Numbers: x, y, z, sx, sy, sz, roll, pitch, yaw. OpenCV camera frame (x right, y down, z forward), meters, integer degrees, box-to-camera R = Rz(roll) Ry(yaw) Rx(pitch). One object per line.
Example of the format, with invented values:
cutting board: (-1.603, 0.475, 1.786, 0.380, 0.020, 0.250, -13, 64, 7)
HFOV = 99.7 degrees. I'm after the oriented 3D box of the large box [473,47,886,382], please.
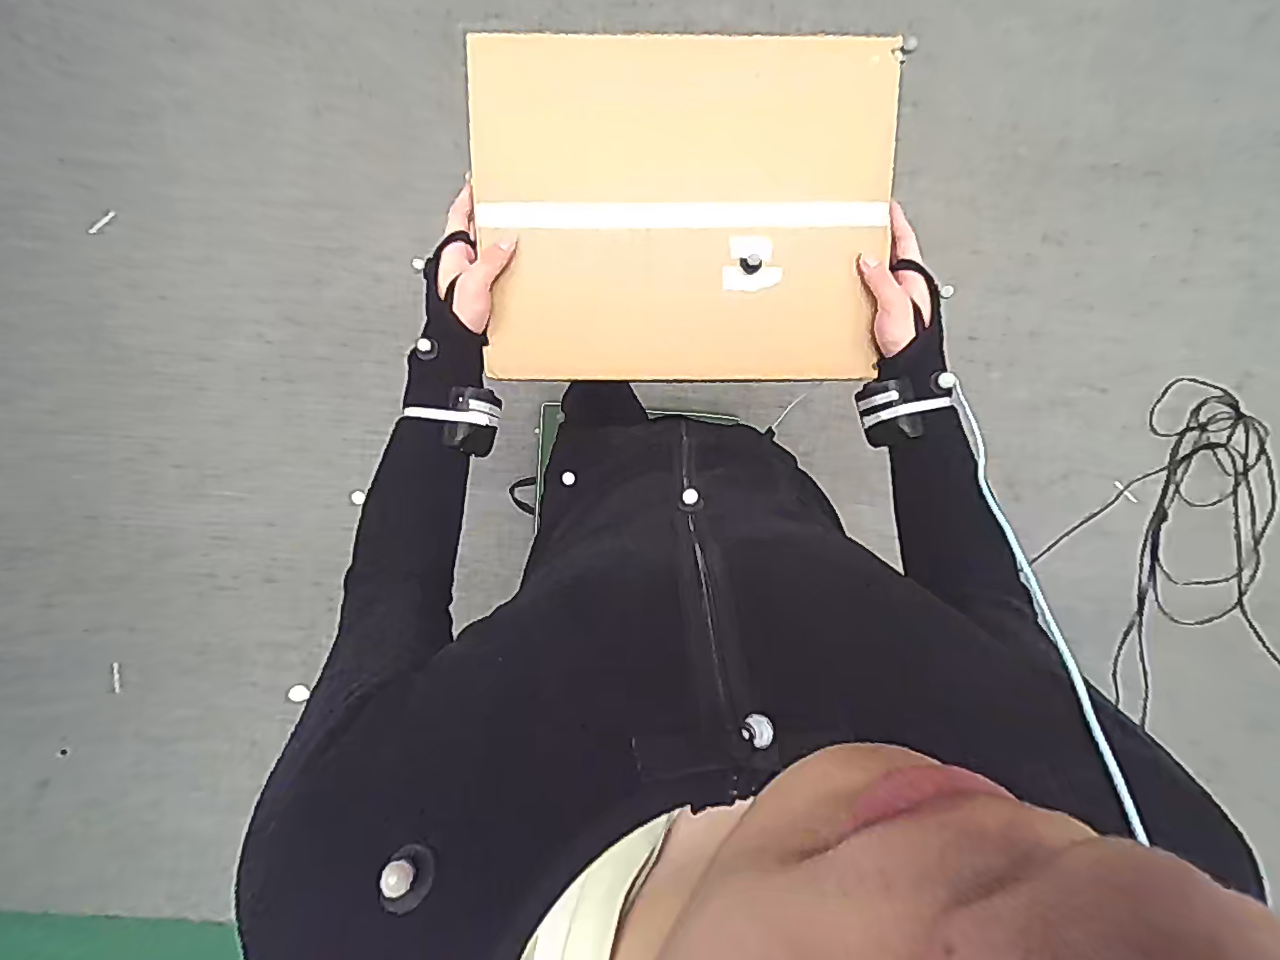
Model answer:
large box: (0.036, -0.286, 0.687, 0.408, 0.320, 0.320, 0, 101, -1)
